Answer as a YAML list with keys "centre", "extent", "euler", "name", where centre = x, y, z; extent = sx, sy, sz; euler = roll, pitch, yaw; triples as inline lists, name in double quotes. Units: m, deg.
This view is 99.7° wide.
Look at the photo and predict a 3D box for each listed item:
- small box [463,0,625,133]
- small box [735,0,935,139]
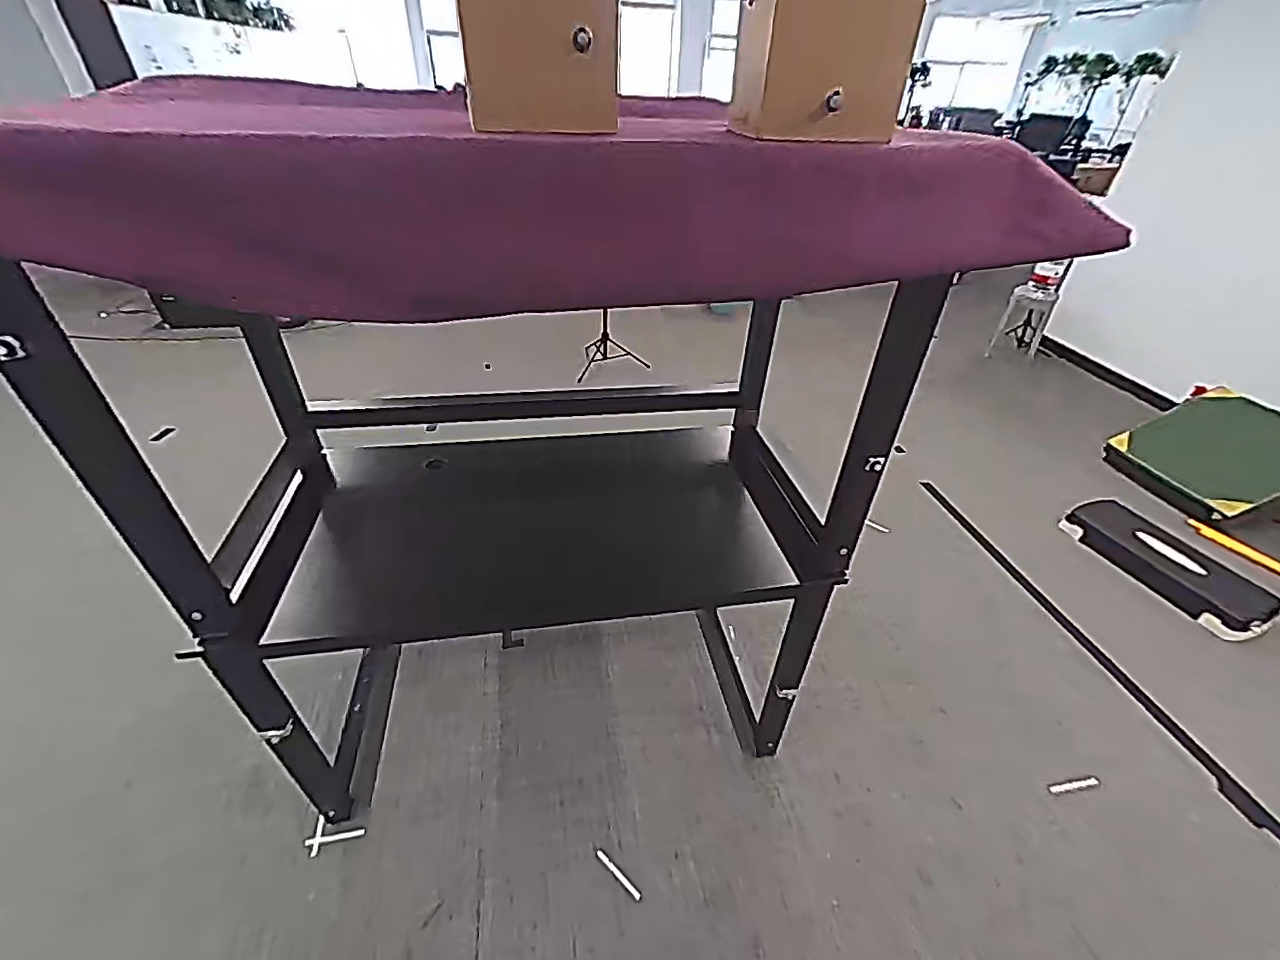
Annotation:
- centre: [-0.119, -0.530, 0.659]
  extent: [0.179, 0.176, 0.168]
  euler: [-8, 37, -13]
  name: "small box"
- centre: [0.230, -0.534, 0.676]
  extent: [0.179, 0.176, 0.168]
  euler: [-2, 36, -6]
  name: "small box"
